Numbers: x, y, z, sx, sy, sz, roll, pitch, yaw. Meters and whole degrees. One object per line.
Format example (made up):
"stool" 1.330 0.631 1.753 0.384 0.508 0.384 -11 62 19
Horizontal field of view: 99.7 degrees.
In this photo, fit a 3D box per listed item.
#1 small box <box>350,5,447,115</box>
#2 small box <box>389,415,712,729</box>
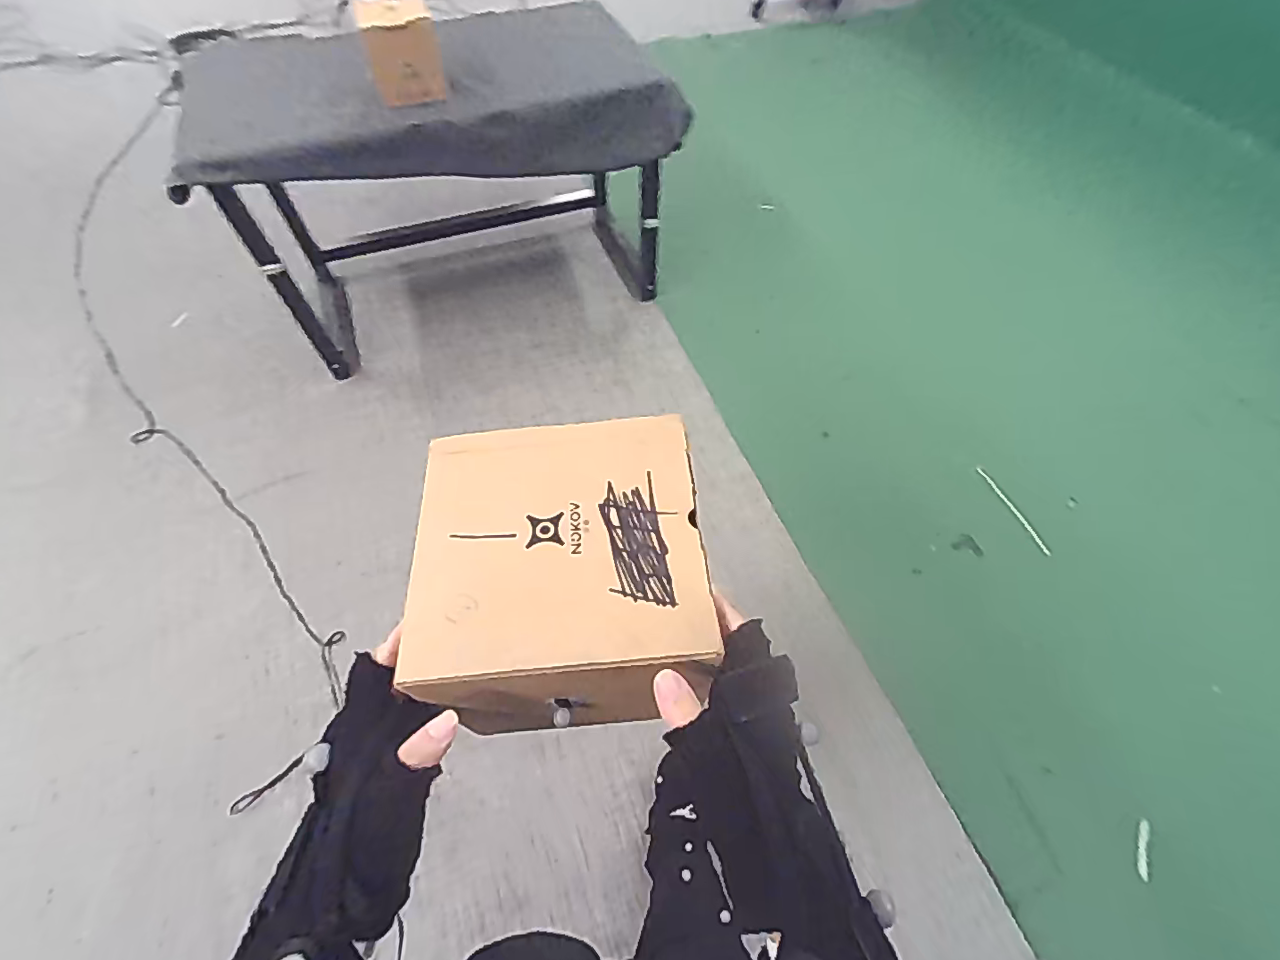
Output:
"small box" -0.597 -1.038 1.347 0.168 0.176 0.179 -18 59 -10
"small box" -0.052 0.075 0.397 0.179 0.176 0.168 -7 56 -1
